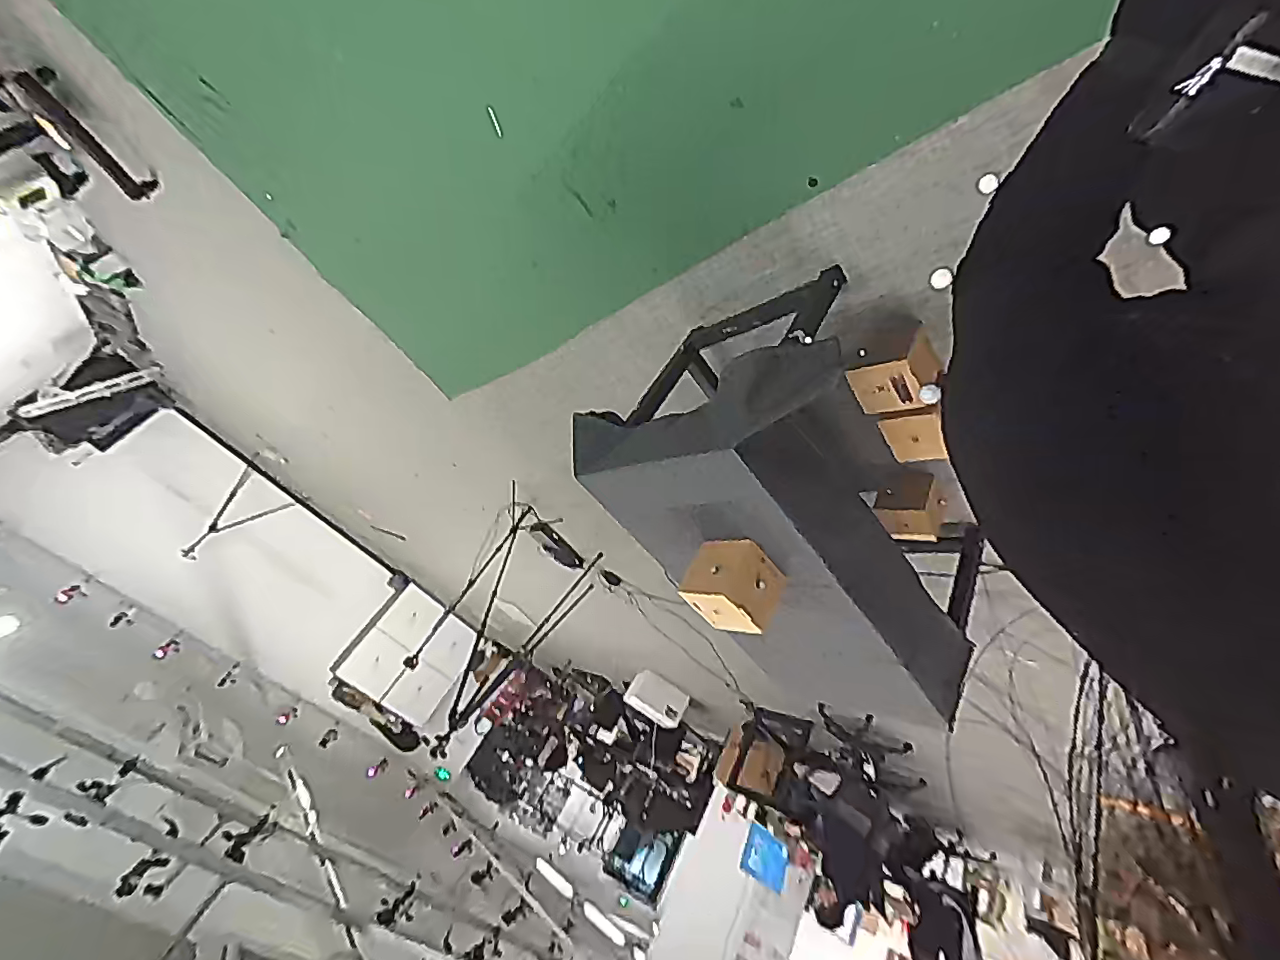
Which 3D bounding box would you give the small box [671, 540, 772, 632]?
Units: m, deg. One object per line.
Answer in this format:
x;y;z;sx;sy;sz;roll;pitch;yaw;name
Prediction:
0.216;0.266;1.376;0.168;0.176;0.179;47;147;-23;small box

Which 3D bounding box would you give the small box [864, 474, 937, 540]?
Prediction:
0.925;0.092;1.912;0.179;0.176;0.168;0;138;44;small box
